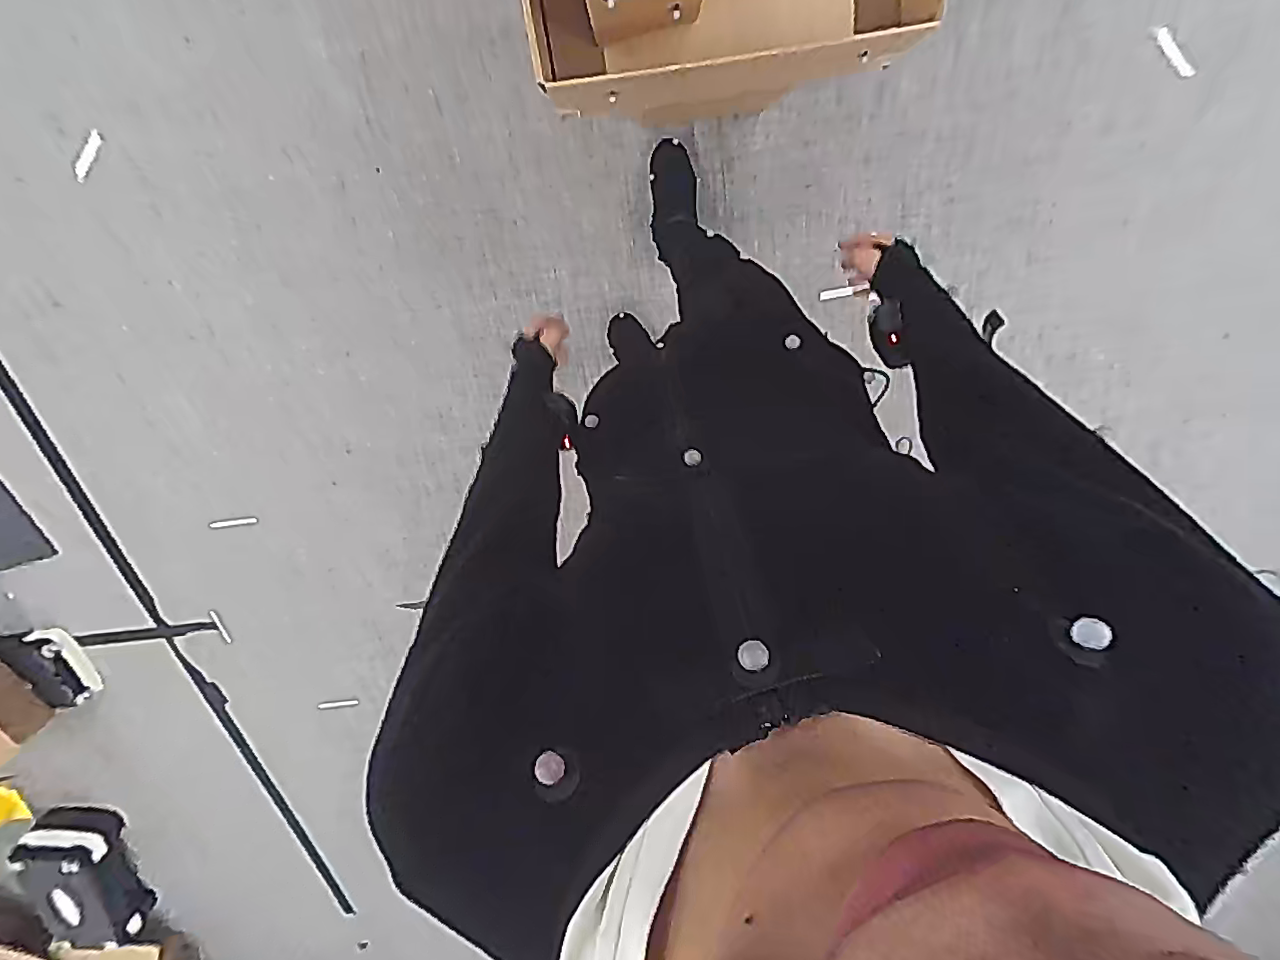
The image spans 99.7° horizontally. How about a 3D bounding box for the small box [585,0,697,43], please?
[{"bbox_3d":[-0.008,-0.787,0.797,0.179,0.176,0.168,-11,114,6],"label":"small box"}]
